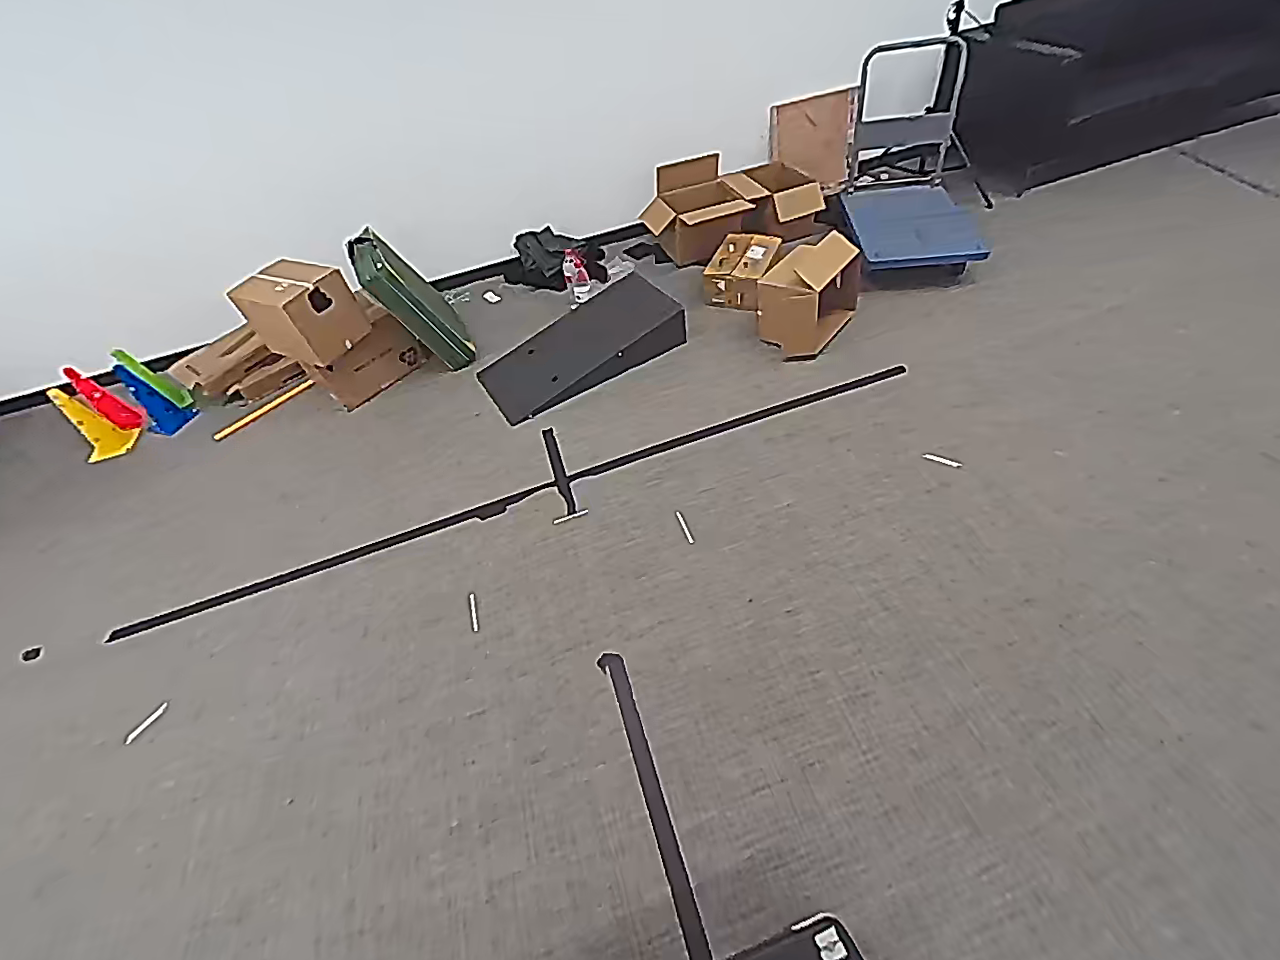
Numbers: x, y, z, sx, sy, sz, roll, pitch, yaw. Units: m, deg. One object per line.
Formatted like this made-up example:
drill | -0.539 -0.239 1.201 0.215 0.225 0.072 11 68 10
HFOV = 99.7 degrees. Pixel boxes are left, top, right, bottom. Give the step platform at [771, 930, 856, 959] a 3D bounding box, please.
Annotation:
step platform | 0.154 1.153 1.020 0.684 0.204 0.286 -18 49 -8
